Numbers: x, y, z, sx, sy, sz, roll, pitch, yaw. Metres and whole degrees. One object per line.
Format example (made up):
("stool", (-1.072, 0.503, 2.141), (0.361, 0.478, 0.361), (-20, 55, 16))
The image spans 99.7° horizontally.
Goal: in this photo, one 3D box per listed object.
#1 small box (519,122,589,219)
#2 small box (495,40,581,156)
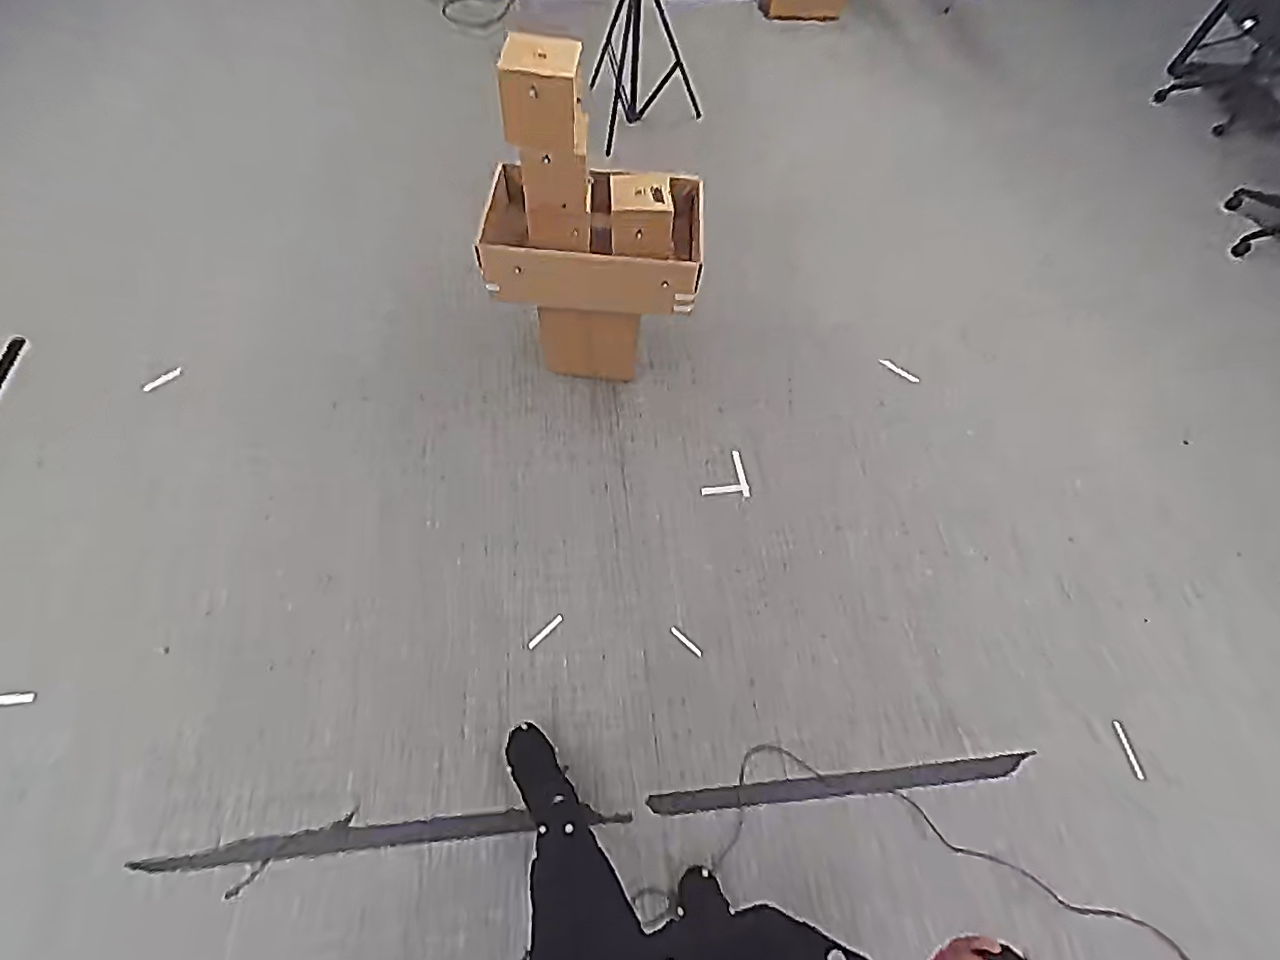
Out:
("small box", (-0.224, -0.832, 1.445), (0.168, 0.176, 0.179), (2, 60, -4))
("small box", (-0.236, -0.912, 1.302), (0.179, 0.176, 0.168), (5, 61, -3))
